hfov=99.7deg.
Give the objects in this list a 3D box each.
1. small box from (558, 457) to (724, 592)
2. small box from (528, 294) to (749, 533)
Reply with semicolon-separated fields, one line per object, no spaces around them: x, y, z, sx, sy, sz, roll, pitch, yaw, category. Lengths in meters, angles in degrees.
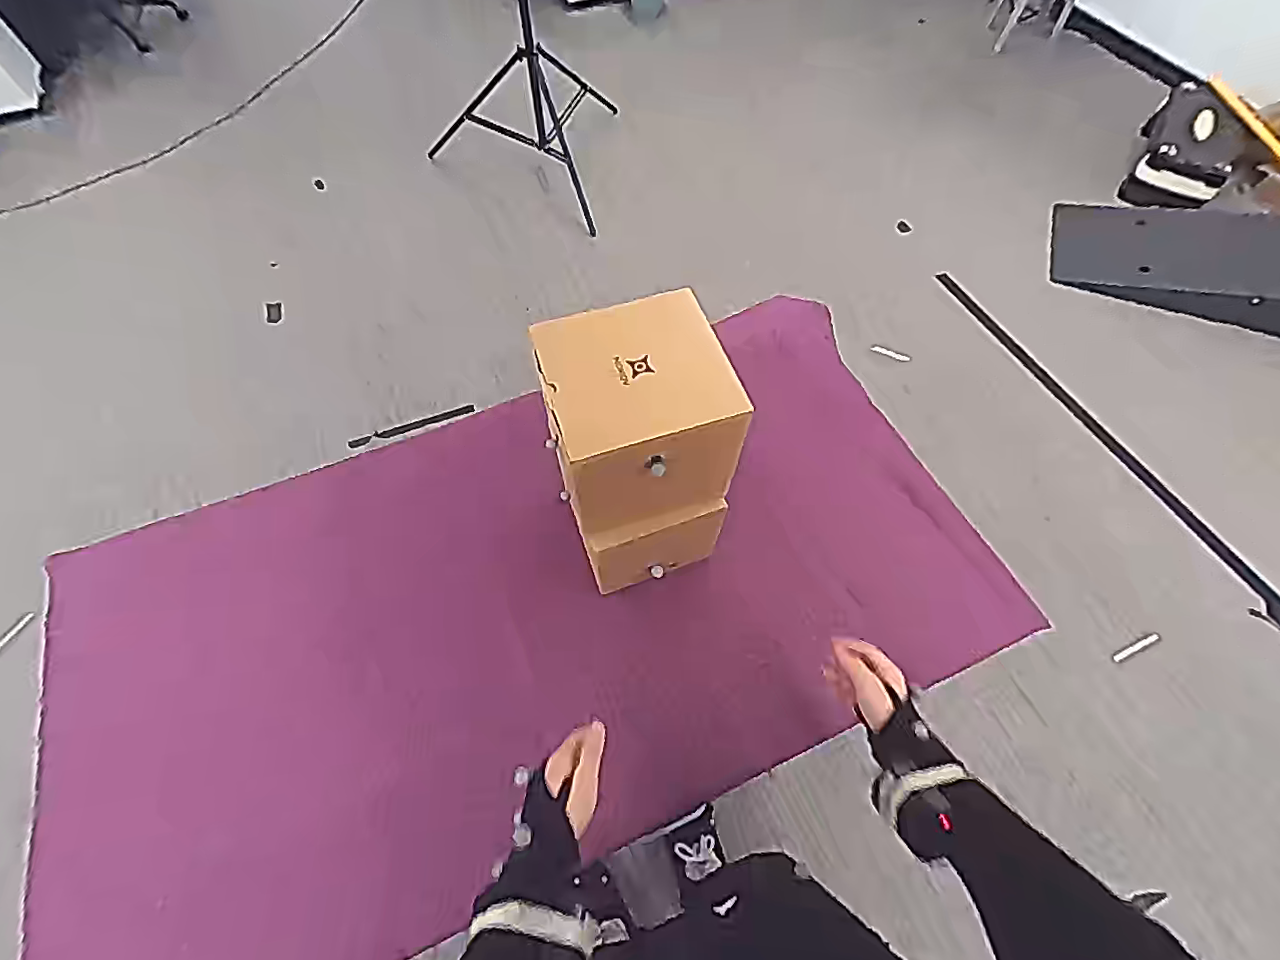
-0.007;0.025;0.719;0.168;0.176;0.179;-18;64;-9;small box
-0.006;-0.064;0.583;0.179;0.176;0.168;-17;63;-8;small box
